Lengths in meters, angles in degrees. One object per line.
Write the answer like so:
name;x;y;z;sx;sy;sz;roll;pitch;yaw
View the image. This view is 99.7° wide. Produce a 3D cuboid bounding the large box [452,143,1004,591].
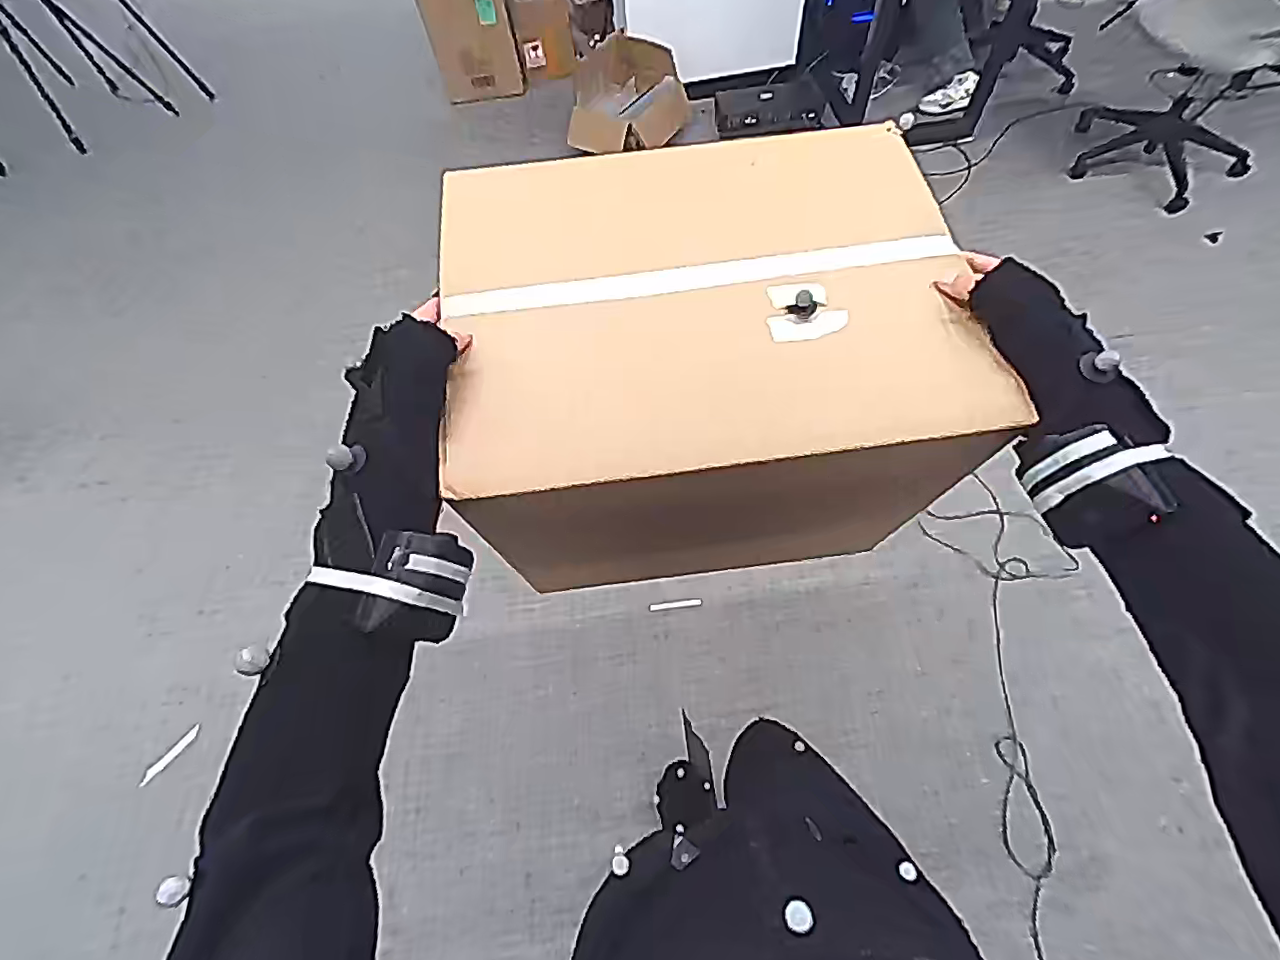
large box;0.049;-0.091;0.574;0.408;0.320;0.320;-8;67;-2
